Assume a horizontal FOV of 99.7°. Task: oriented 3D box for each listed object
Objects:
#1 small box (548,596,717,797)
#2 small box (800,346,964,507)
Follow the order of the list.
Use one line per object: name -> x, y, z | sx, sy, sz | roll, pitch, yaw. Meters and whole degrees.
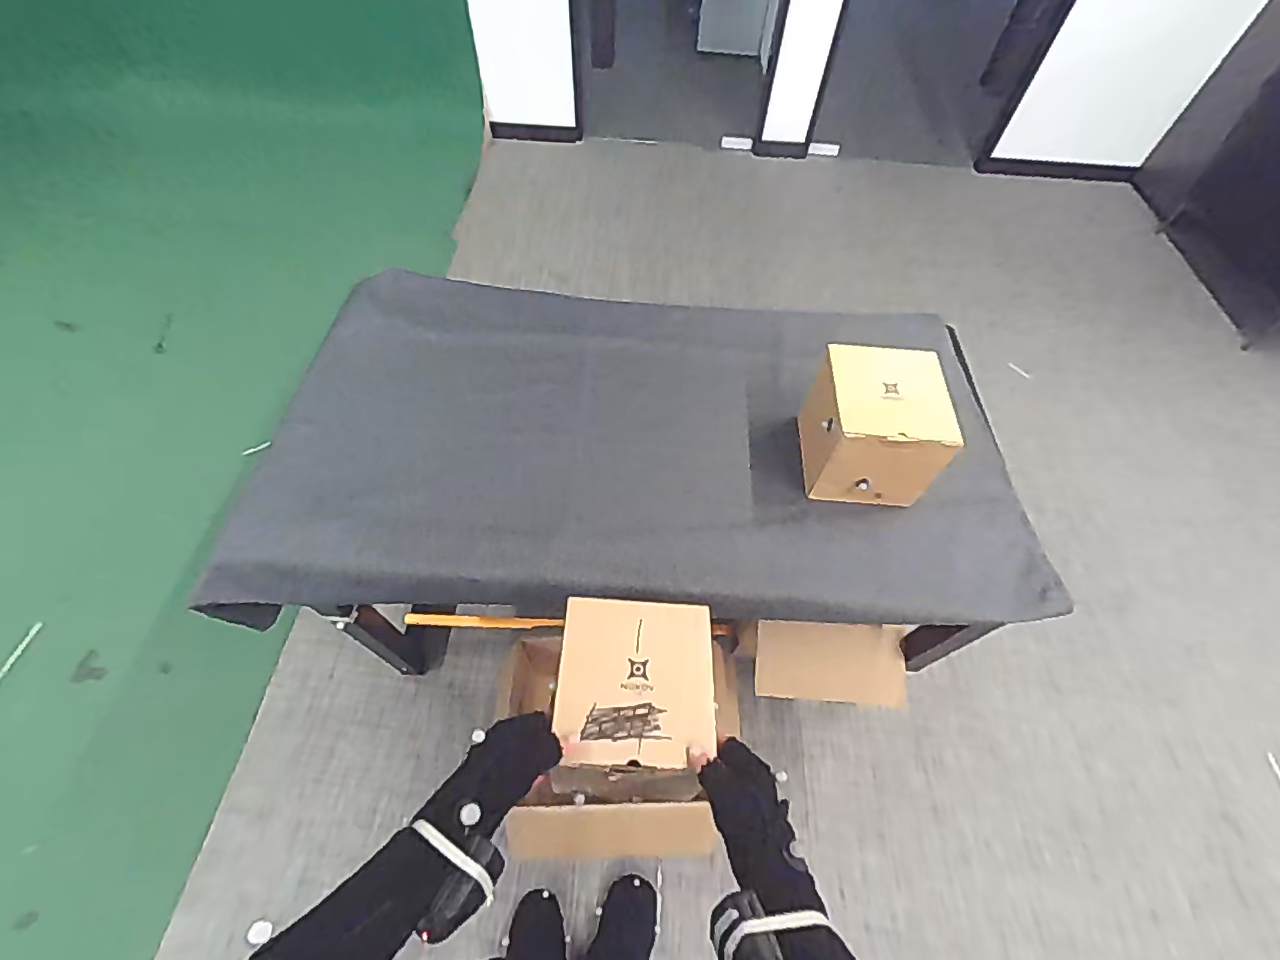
small box -> -0.009, 0.256, 0.628 | 0.168, 0.176, 0.179 | 5, 51, -3
small box -> 0.355, -0.080, 0.835 | 0.168, 0.176, 0.179 | 4, 57, 0
